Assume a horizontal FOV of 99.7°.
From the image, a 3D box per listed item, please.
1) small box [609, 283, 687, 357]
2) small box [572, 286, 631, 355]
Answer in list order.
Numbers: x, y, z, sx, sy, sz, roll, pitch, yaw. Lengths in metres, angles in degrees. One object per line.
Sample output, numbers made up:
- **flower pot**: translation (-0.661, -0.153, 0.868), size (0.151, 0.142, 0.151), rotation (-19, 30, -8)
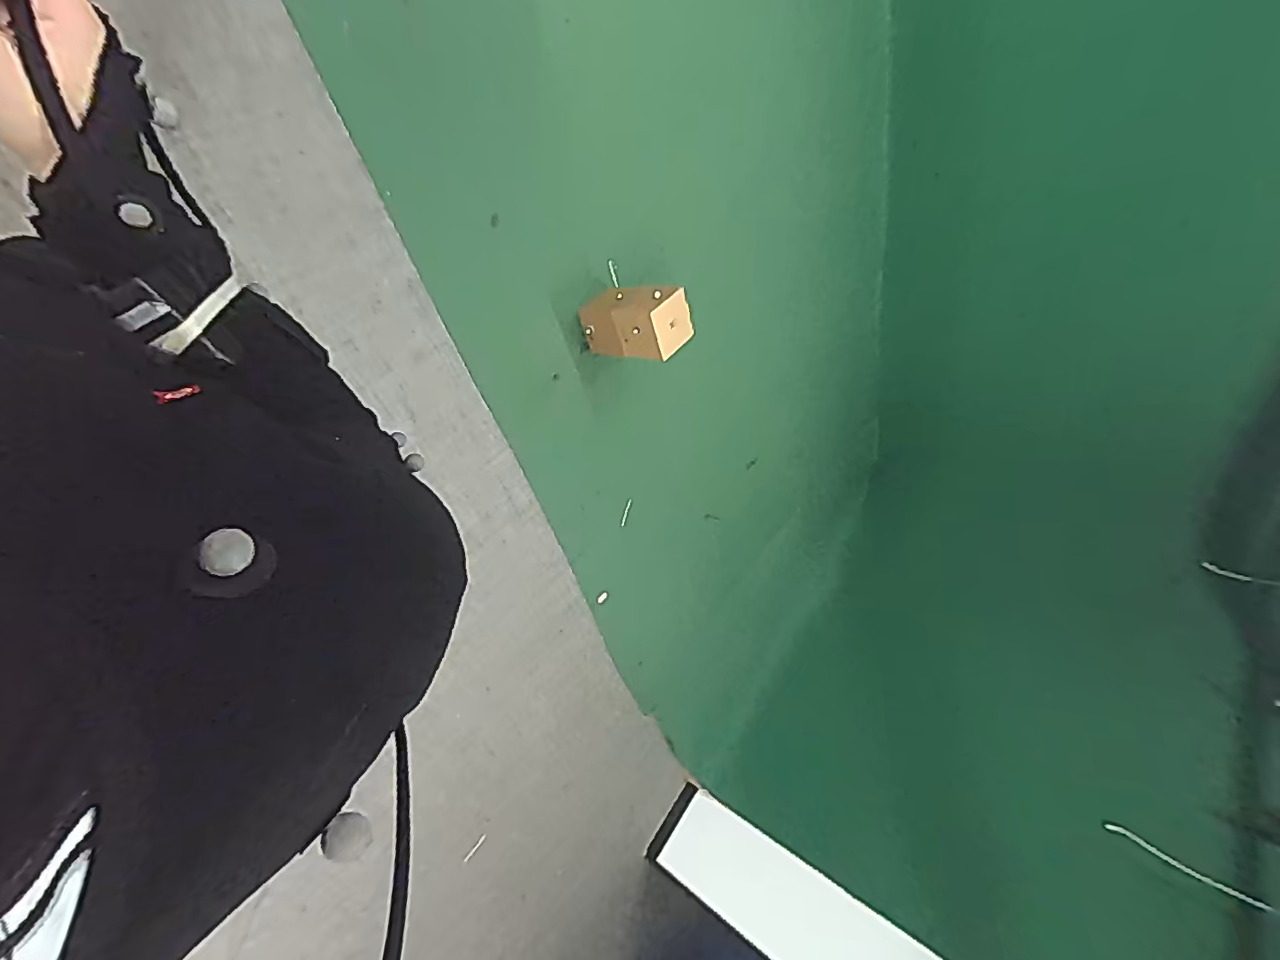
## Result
- **small box**: translation (0.020, -0.513, 1.726), size (0.179, 0.176, 0.168), rotation (-48, 136, -30)
- **small box**: translation (-0.098, -0.547, 1.832), size (0.179, 0.176, 0.168), rotation (-46, 135, -30)
